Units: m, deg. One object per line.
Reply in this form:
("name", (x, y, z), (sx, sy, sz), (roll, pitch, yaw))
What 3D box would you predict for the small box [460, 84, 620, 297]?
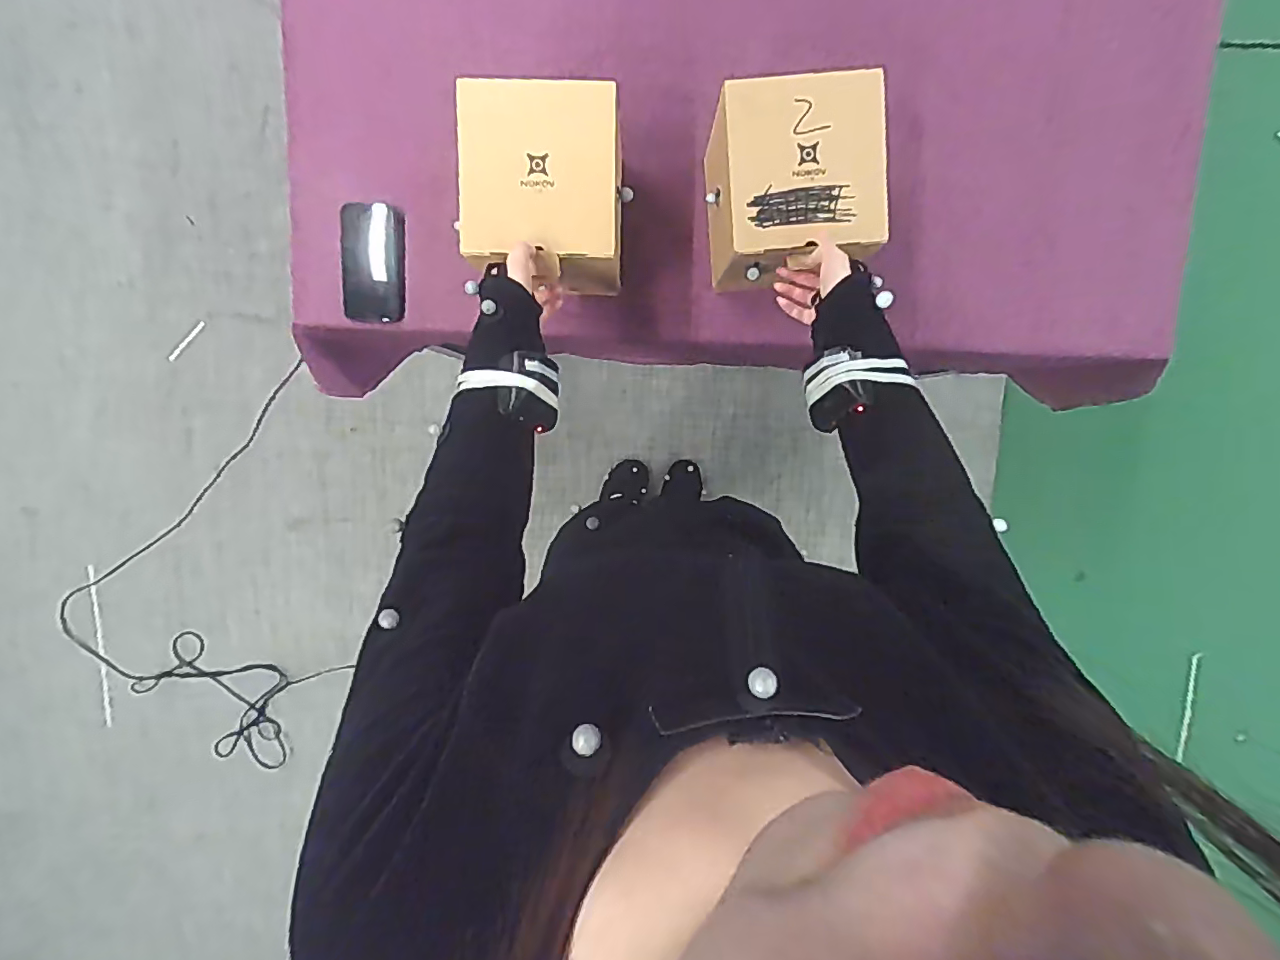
("small box", (-0.110, -0.332, 0.651), (0.168, 0.176, 0.179), (1, 97, -1))
